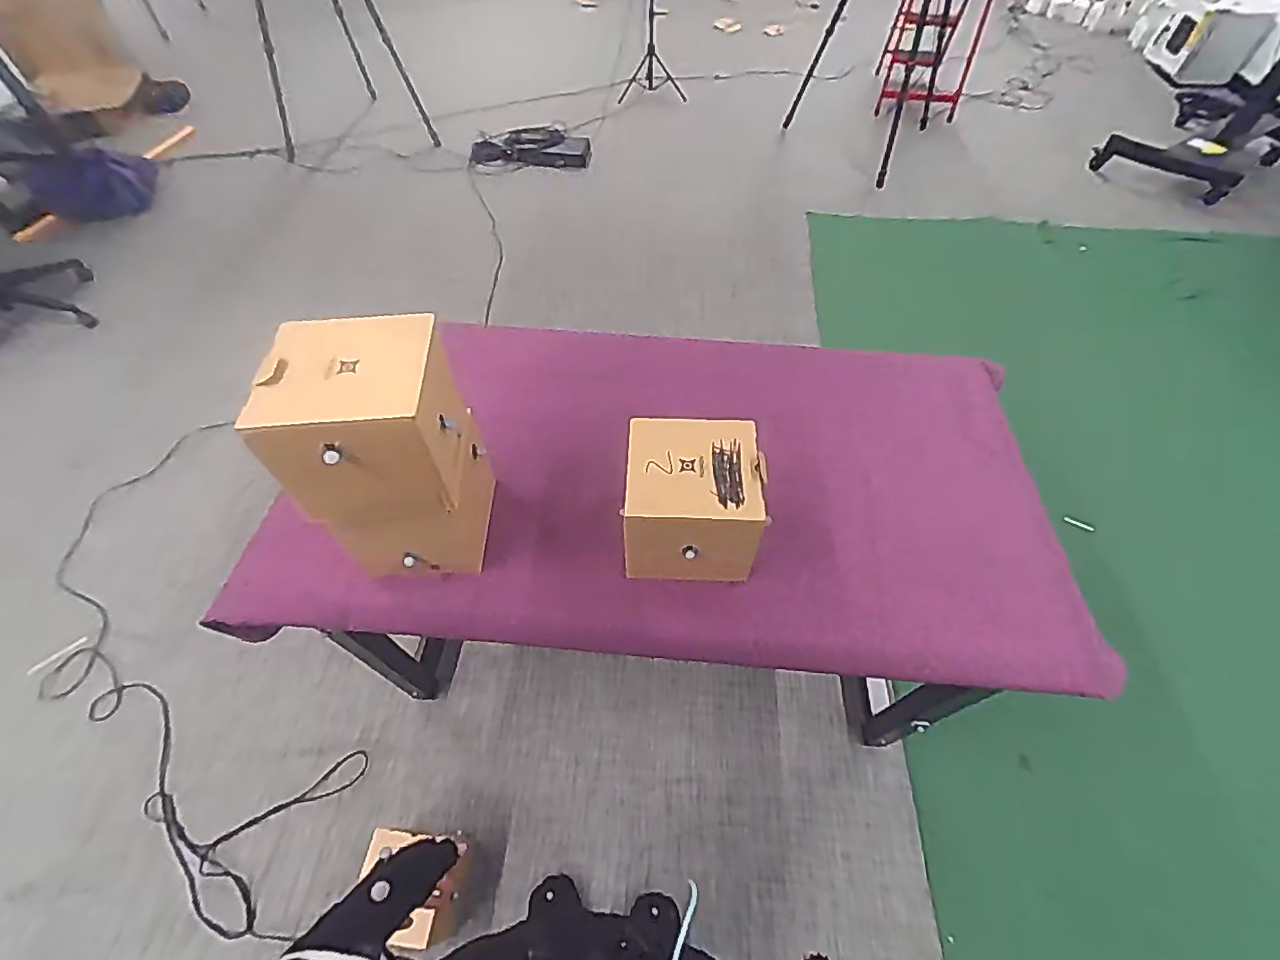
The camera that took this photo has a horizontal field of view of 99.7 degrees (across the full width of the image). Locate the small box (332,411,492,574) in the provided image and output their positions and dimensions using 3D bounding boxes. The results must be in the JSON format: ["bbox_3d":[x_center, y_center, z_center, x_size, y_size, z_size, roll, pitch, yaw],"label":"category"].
[{"bbox_3d":[-0.318,0.018,0.778,0.168,0.176,0.179,0,54,-1],"label":"small box"}]

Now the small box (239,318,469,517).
[{"bbox_3d":[-0.312,-0.070,0.640,0.179,0.176,0.168,-4,54,-4],"label":"small box"}]
